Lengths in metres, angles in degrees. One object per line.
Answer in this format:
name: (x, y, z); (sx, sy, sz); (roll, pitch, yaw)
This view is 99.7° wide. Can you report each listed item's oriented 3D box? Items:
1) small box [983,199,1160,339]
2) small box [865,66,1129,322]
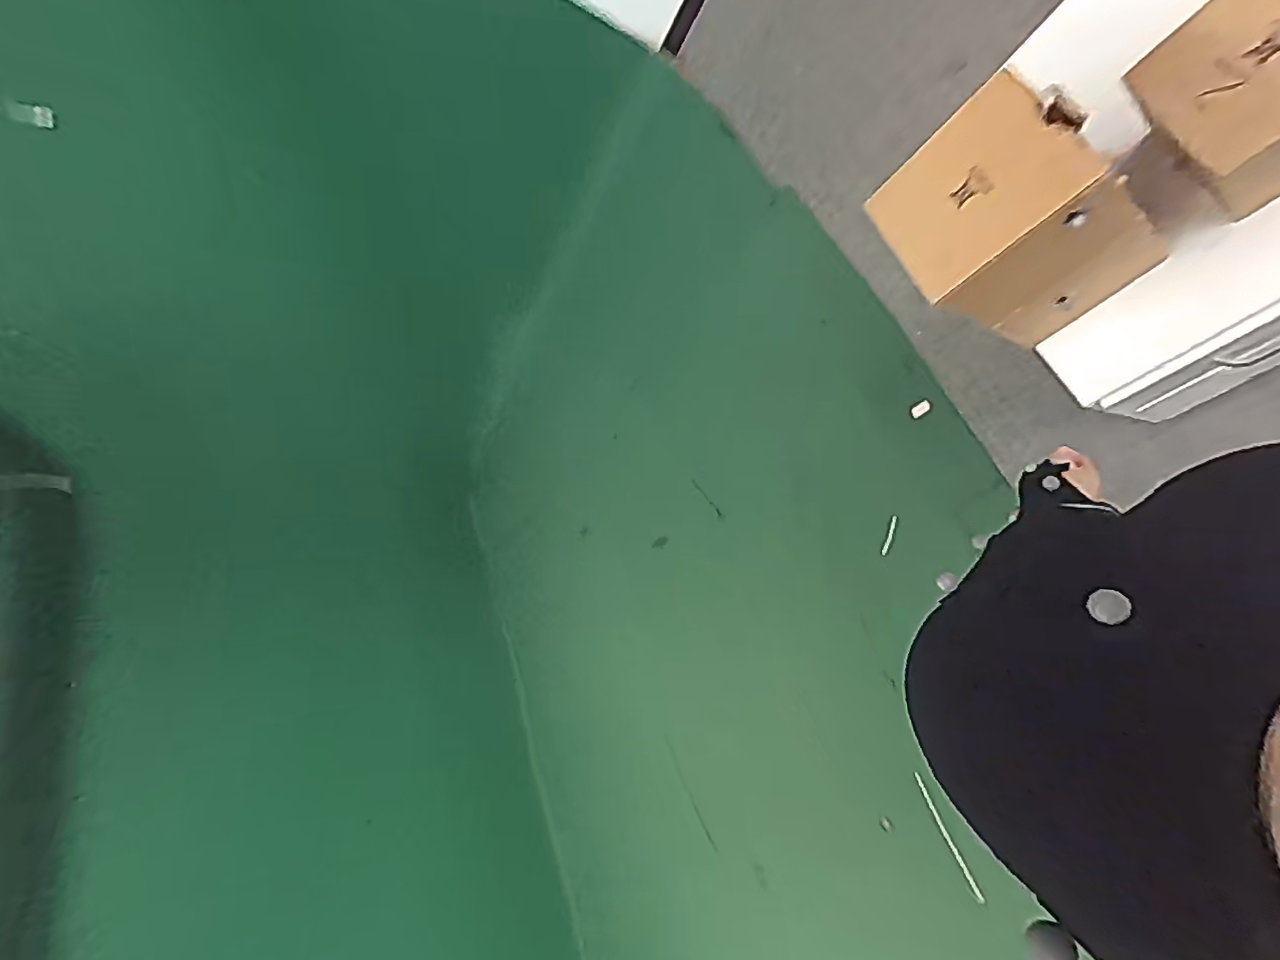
small box: (0.537, -0.313, 0.728); (0.179, 0.176, 0.168); (-46, 58, 42)
small box: (0.408, -0.309, 0.627); (0.179, 0.176, 0.168); (-42, 60, 41)
